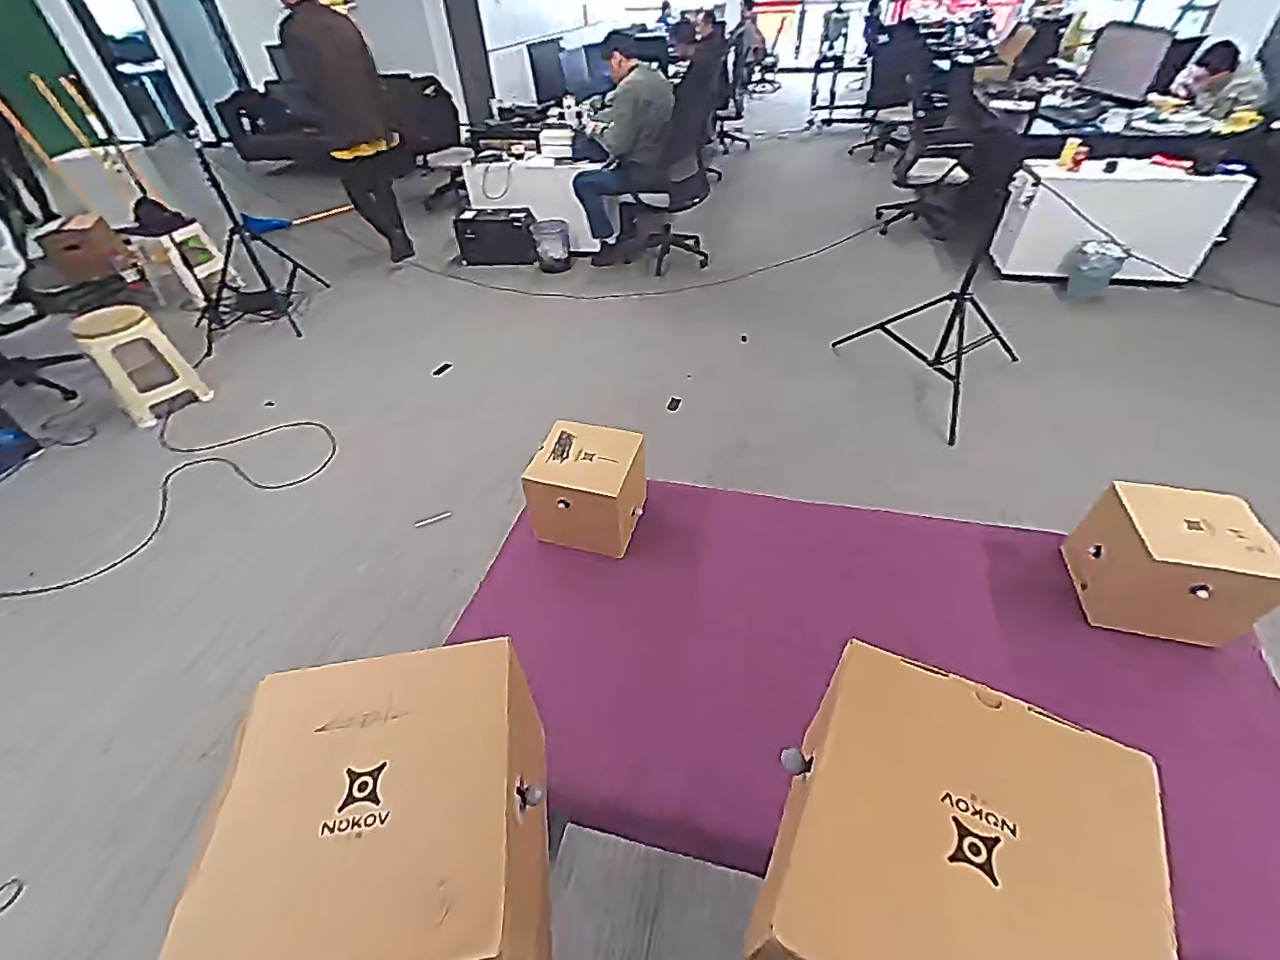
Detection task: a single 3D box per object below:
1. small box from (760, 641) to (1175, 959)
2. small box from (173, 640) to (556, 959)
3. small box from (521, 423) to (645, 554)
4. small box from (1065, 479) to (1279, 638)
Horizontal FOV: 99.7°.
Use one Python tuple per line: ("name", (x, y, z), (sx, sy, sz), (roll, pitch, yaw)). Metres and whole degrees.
("small box", (0.181, 0.243, 0.339), (0.168, 0.176, 0.179), (18, 49, 22))
("small box", (-0.151, 0.239, 0.366), (0.168, 0.176, 0.179), (-7, 43, -6))
("small box", (-0.096, 0.018, 1.009), (0.179, 0.176, 0.168), (10, 46, 12))
("small box", (0.805, 0.124, 0.841), (0.179, 0.176, 0.168), (9, 45, 12))
